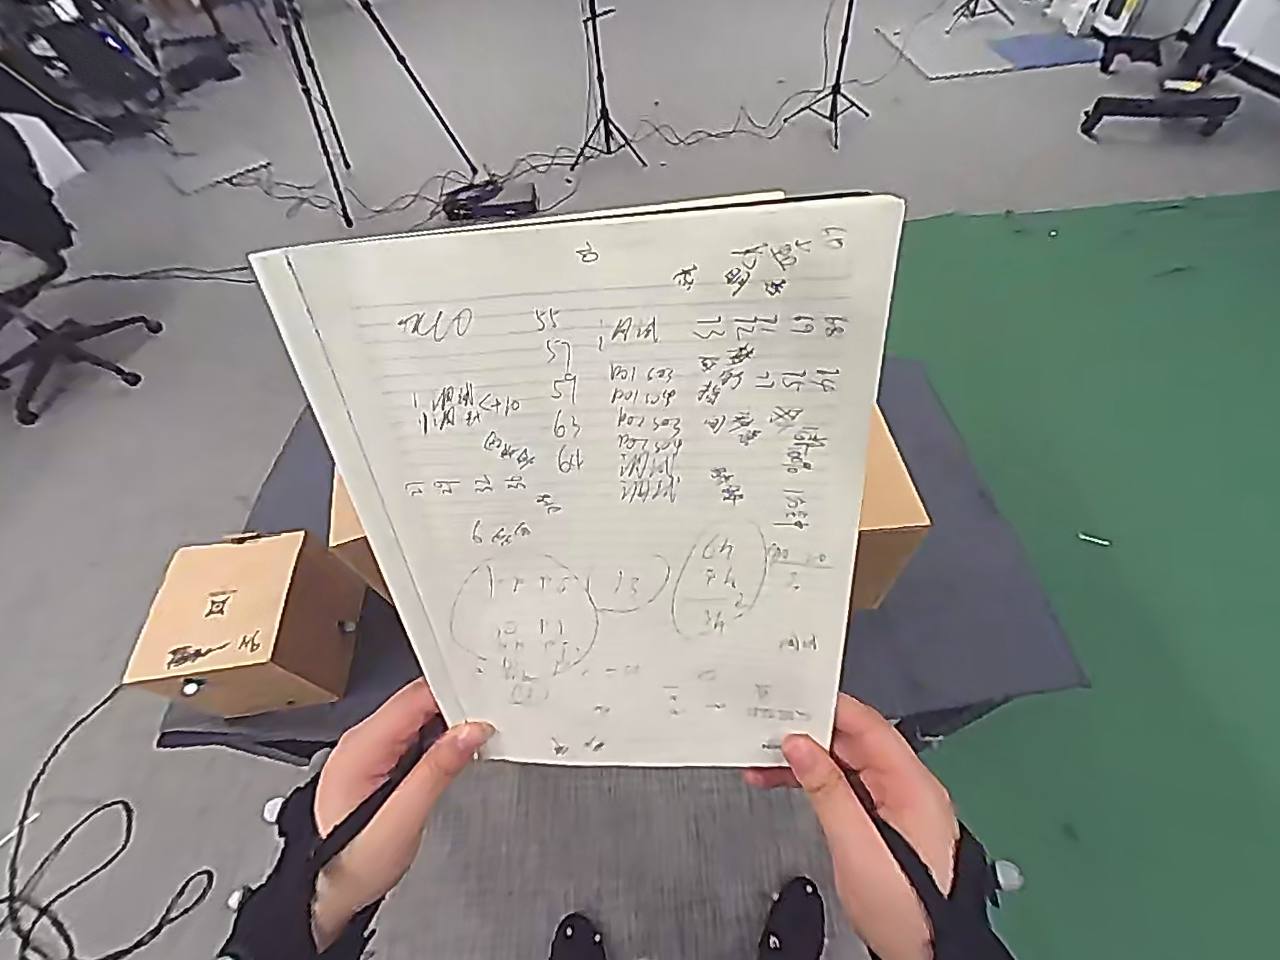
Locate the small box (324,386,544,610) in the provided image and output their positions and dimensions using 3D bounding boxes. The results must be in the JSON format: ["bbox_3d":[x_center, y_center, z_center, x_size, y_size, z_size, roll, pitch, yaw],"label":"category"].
[{"bbox_3d":[-0.223,0.026,0.617,0.179,0.176,0.168,-16,54,-6],"label":"small box"}]

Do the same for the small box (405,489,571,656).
[{"bbox_3d":[-0.210,0.121,0.751,0.179,0.176,0.168,-18,55,-8],"label":"small box"}]

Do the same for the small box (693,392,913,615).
[{"bbox_3d":[0.151,0.031,0.575,0.179,0.176,0.168,-6,53,2],"label":"small box"}]

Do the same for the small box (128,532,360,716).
[{"bbox_3d":[-0.502,0.195,0.723,0.168,0.176,0.179,-9,53,-1],"label":"small box"}]

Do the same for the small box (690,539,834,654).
[{"bbox_3d":[0.161,0.108,0.720,0.168,0.176,0.179,8,55,12],"label":"small box"}]
